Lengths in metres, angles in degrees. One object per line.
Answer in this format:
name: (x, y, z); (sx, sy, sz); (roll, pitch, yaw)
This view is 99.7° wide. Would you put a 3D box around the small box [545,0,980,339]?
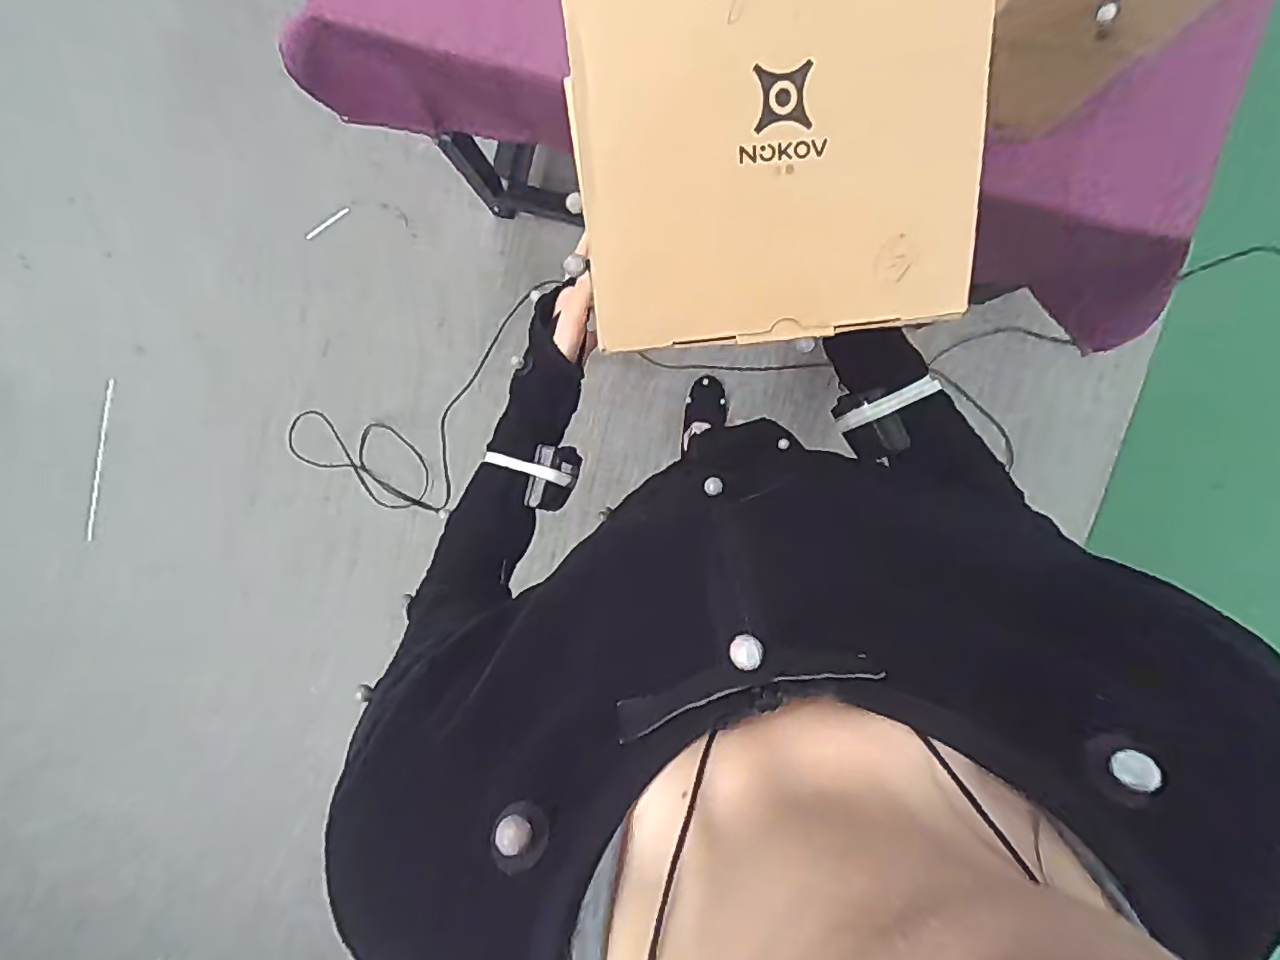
small box: (0.045, -0.175, 0.287); (0.168, 0.176, 0.179); (-5, 107, -2)
